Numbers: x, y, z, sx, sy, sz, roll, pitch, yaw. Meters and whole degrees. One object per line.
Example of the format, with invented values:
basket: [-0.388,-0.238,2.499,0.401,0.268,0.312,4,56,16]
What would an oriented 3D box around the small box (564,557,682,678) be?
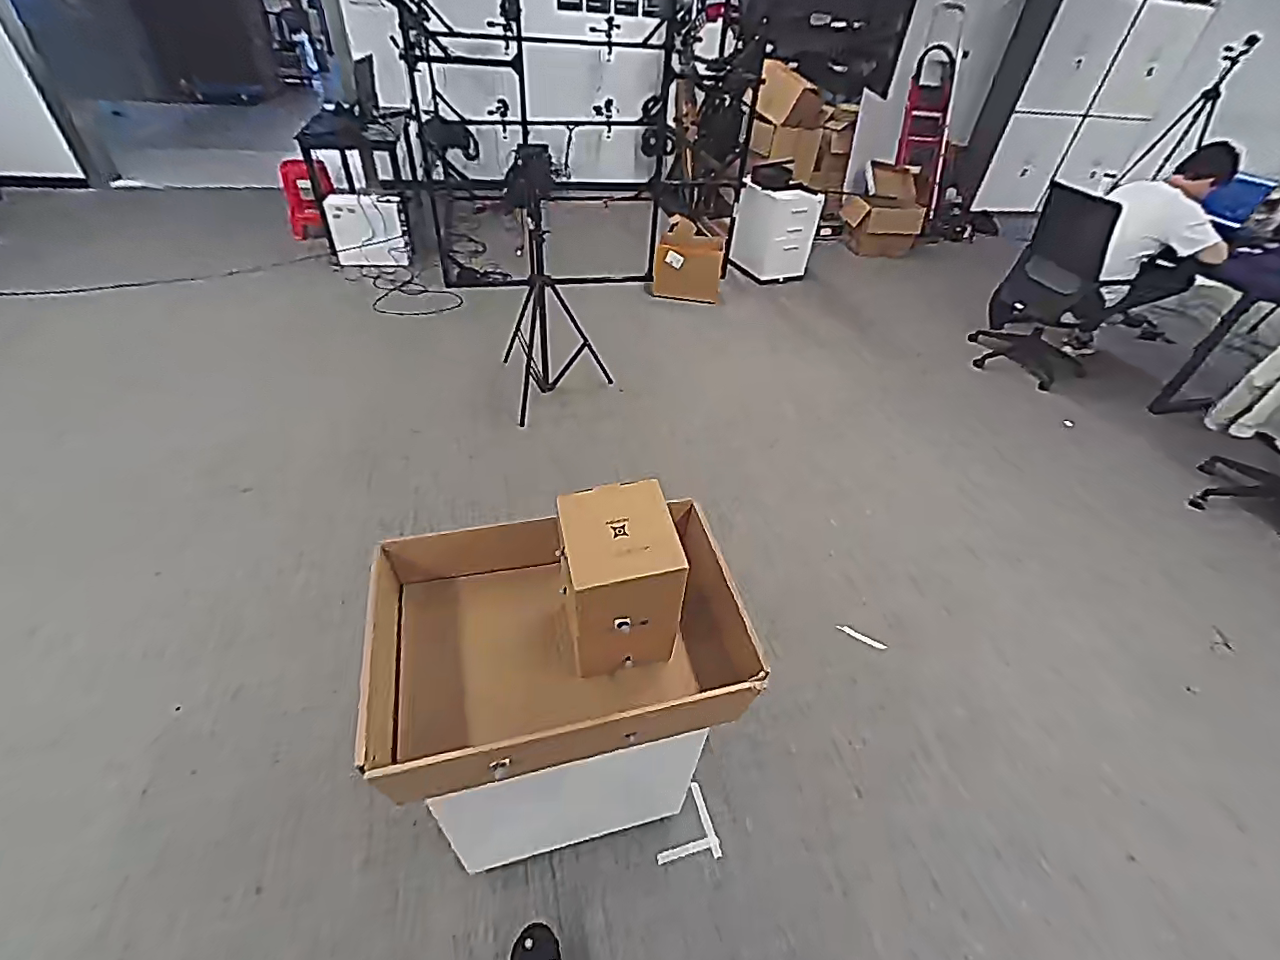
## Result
small box: [-0.039,0.235,0.981,0.179,0.176,0.168,-9,48,-12]

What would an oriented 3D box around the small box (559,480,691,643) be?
small box: [-0.031,0.129,0.856,0.168,0.176,0.179,-11,50,-11]
